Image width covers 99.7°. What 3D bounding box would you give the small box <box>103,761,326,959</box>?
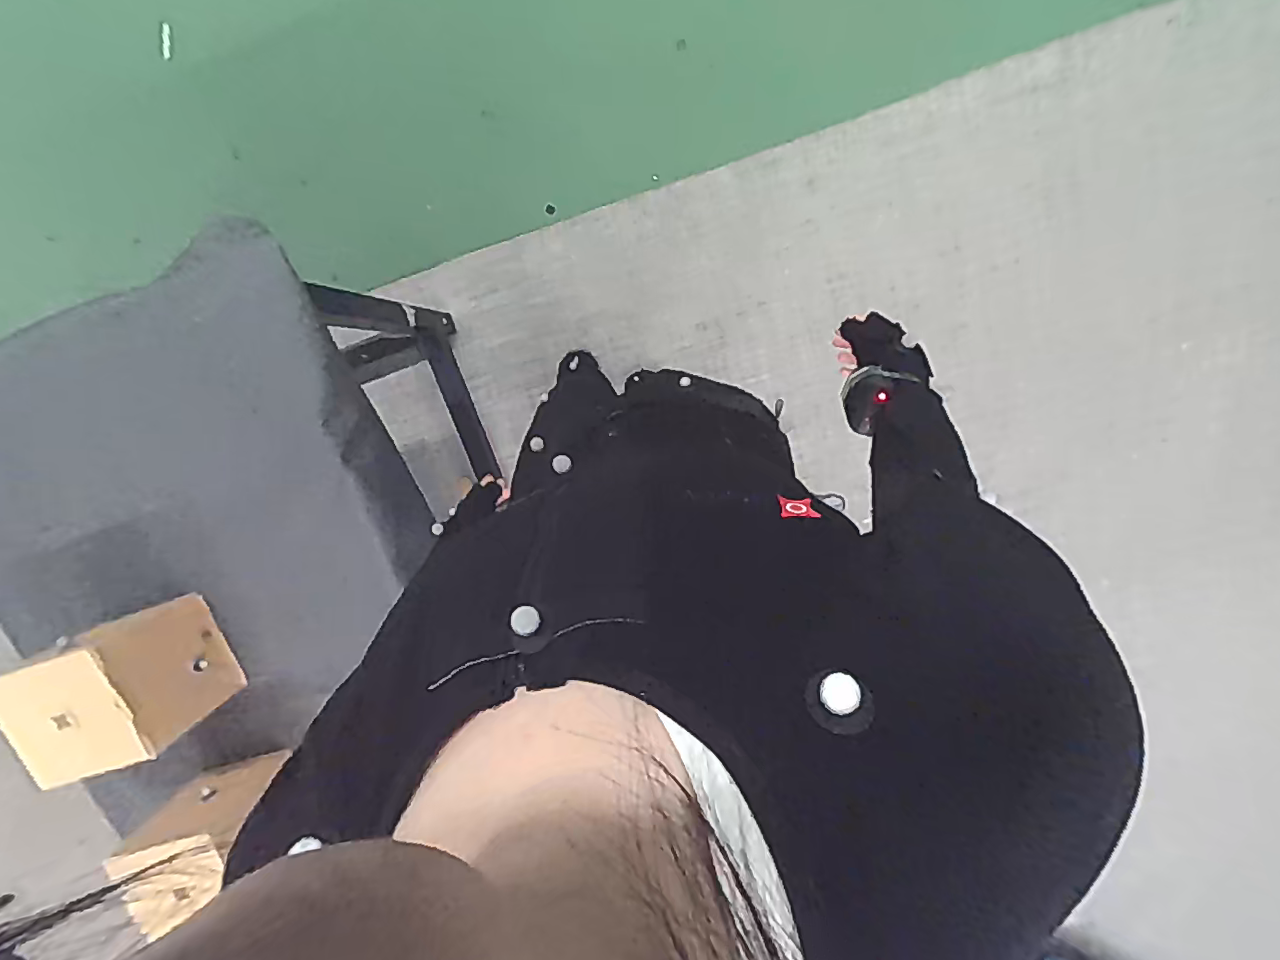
[{"bbox_3d":[-0.624,0.558,0.818,0.168,0.176,0.179,-17,101,4],"label":"small box"}]

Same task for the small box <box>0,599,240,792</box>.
[{"bbox_3d":[-0.733,0.294,0.768,0.179,0.176,0.168,-18,101,5],"label":"small box"}]
